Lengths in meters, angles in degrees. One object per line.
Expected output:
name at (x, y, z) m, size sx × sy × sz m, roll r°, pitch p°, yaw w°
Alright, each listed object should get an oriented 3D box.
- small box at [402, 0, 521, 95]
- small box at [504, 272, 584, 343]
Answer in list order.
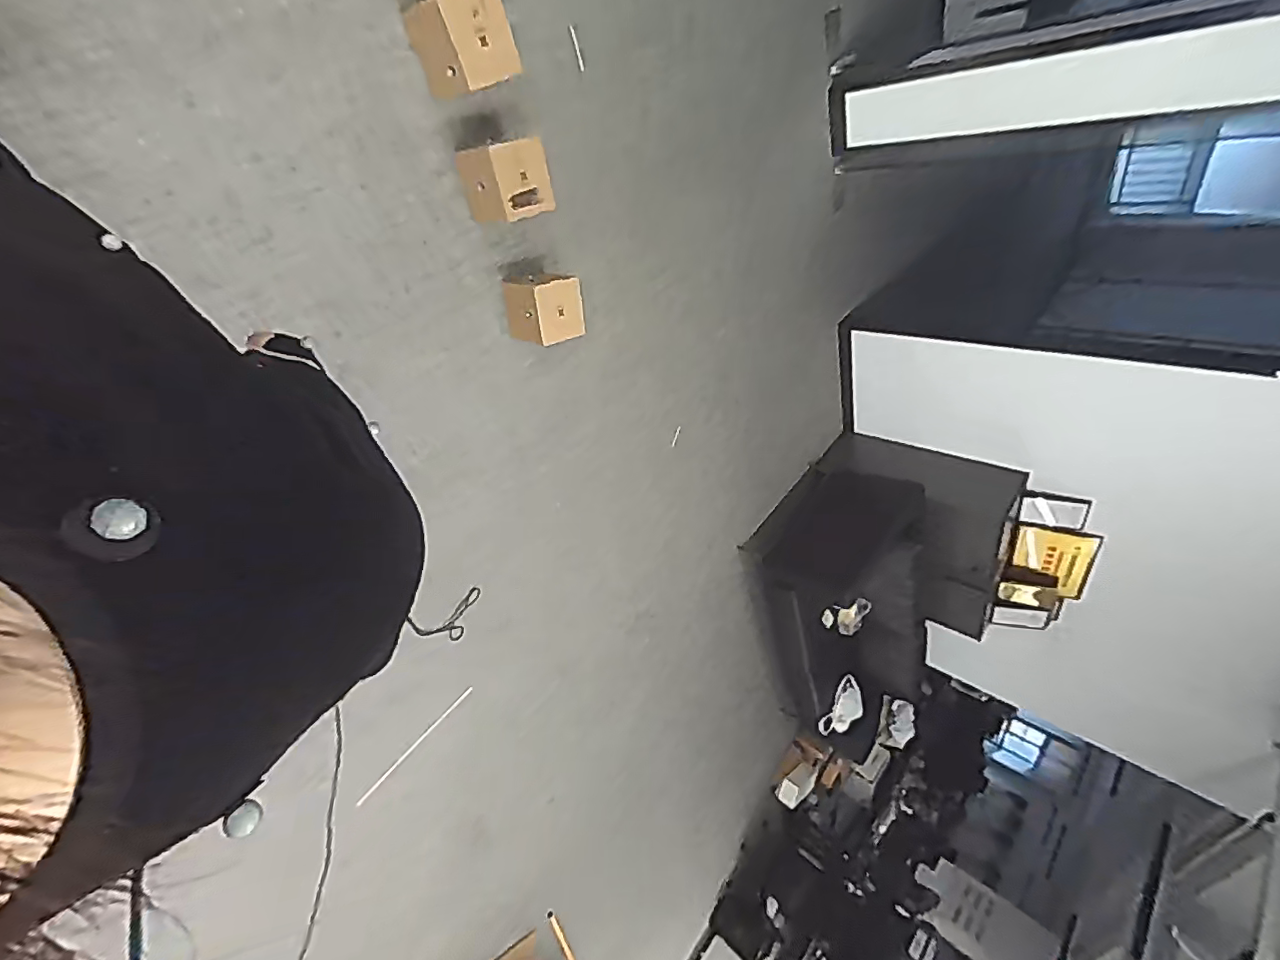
small box at (-0.420, -1.036, 1.277) m, size 0.168 × 0.176 × 0.179 m, roll -44°, pitch 135°, yaw -27°
small box at (-0.295, -0.533, 1.652) m, size 0.168 × 0.176 × 0.179 m, roll -29°, pitch 128°, yaw -36°
